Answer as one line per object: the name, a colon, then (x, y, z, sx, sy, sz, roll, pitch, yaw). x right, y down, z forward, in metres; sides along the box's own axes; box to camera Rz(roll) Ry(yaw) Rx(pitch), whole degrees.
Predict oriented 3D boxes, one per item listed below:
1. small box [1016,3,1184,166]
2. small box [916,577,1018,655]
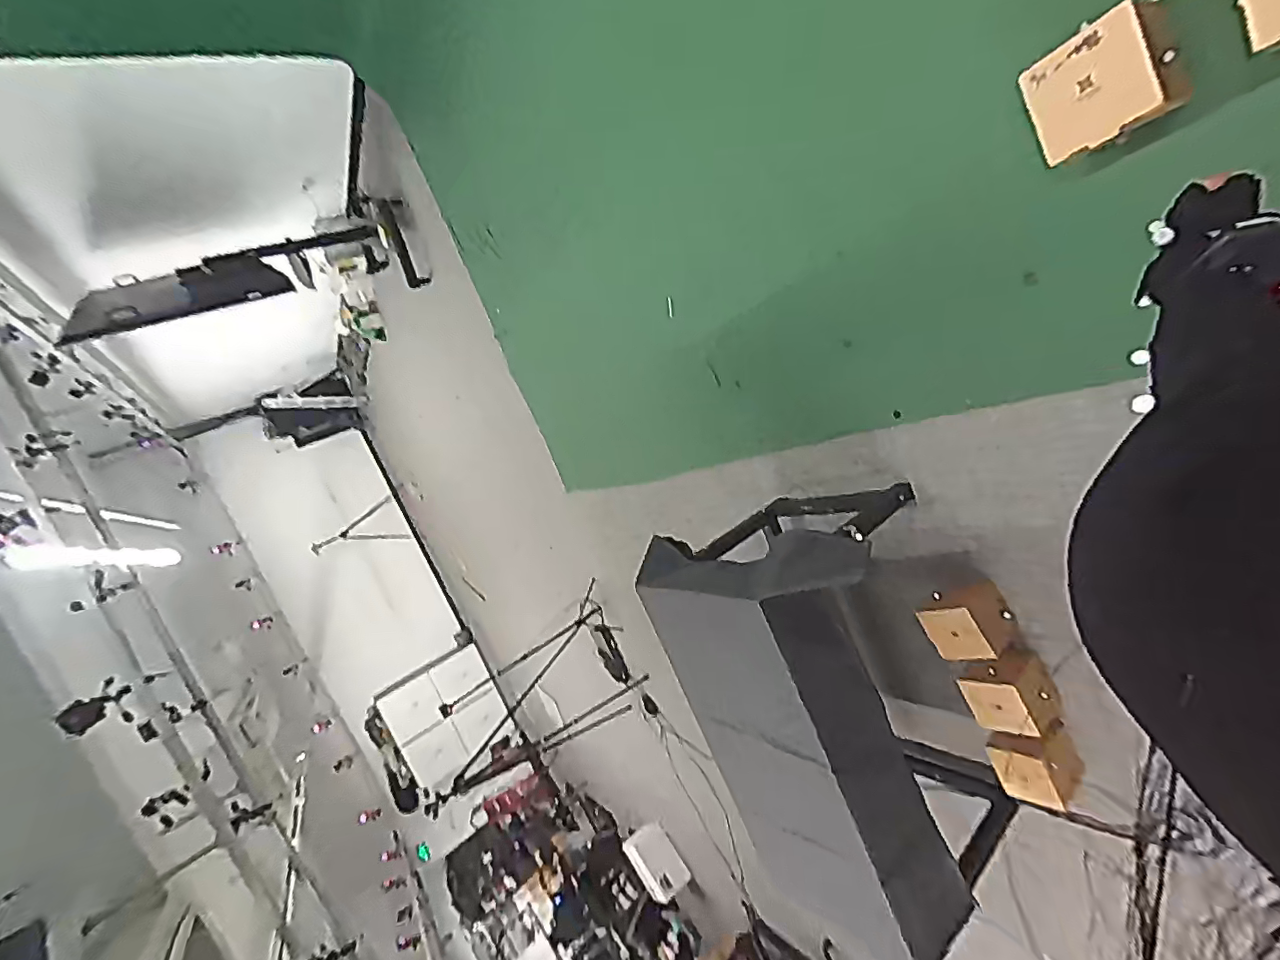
small box: (0.825, -0.706, 0.968, 0.168, 0.176, 0.179, -14, 104, 59)
small box: (0.991, 0.411, 1.638, 0.168, 0.176, 0.179, 59, 151, 3)
